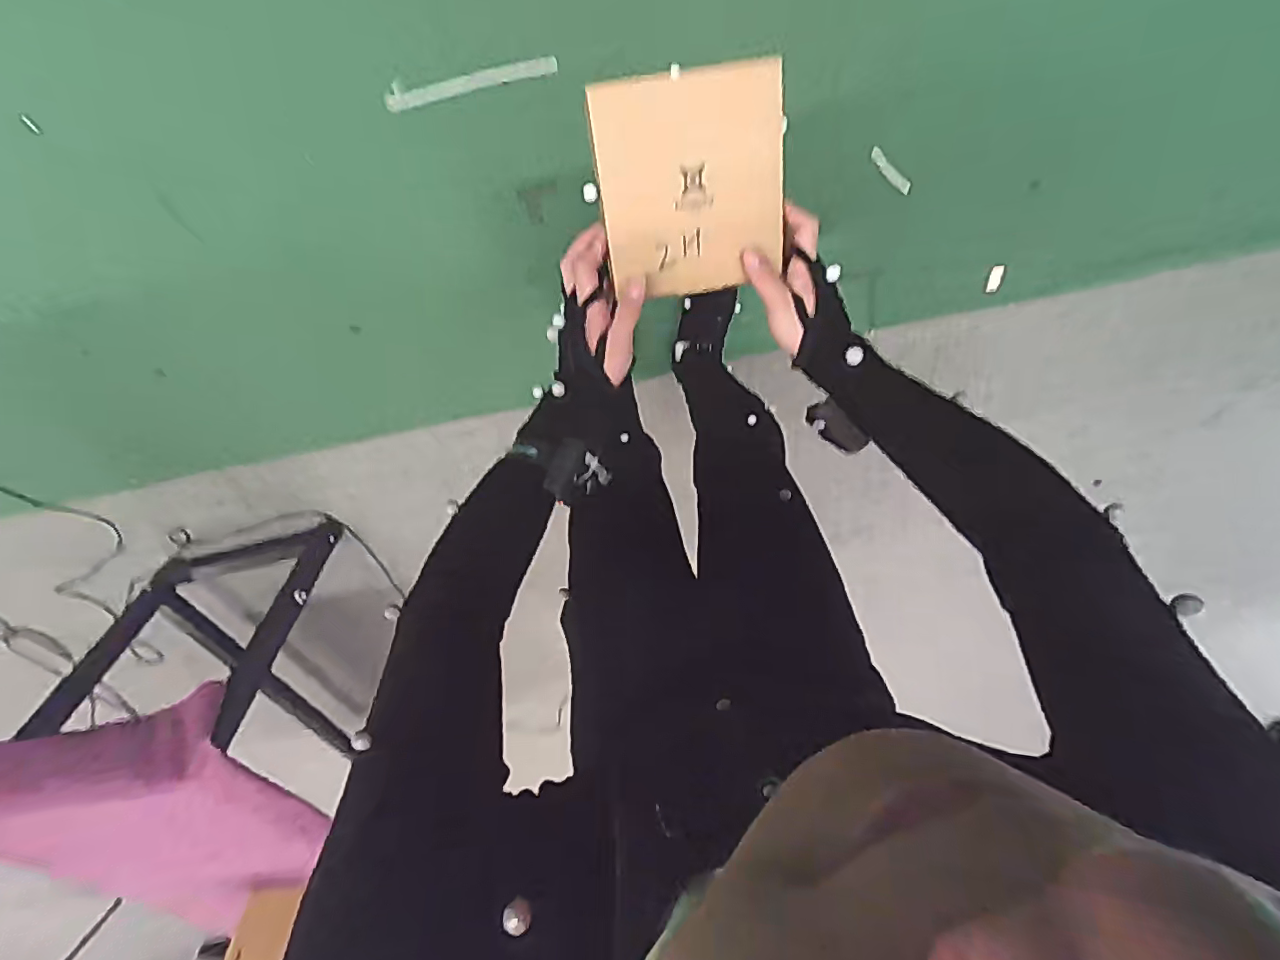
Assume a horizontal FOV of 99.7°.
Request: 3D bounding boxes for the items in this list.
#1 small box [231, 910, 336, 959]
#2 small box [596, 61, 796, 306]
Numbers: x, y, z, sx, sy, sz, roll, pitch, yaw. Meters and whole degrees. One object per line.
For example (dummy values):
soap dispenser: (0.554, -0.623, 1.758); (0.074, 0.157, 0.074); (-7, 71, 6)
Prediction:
small box: (-0.877, 1.178, 1.319); (0.179, 0.176, 0.168); (-13, 127, 6)
small box: (0.049, -0.289, 0.546); (0.168, 0.176, 0.179); (-9, 118, 0)
